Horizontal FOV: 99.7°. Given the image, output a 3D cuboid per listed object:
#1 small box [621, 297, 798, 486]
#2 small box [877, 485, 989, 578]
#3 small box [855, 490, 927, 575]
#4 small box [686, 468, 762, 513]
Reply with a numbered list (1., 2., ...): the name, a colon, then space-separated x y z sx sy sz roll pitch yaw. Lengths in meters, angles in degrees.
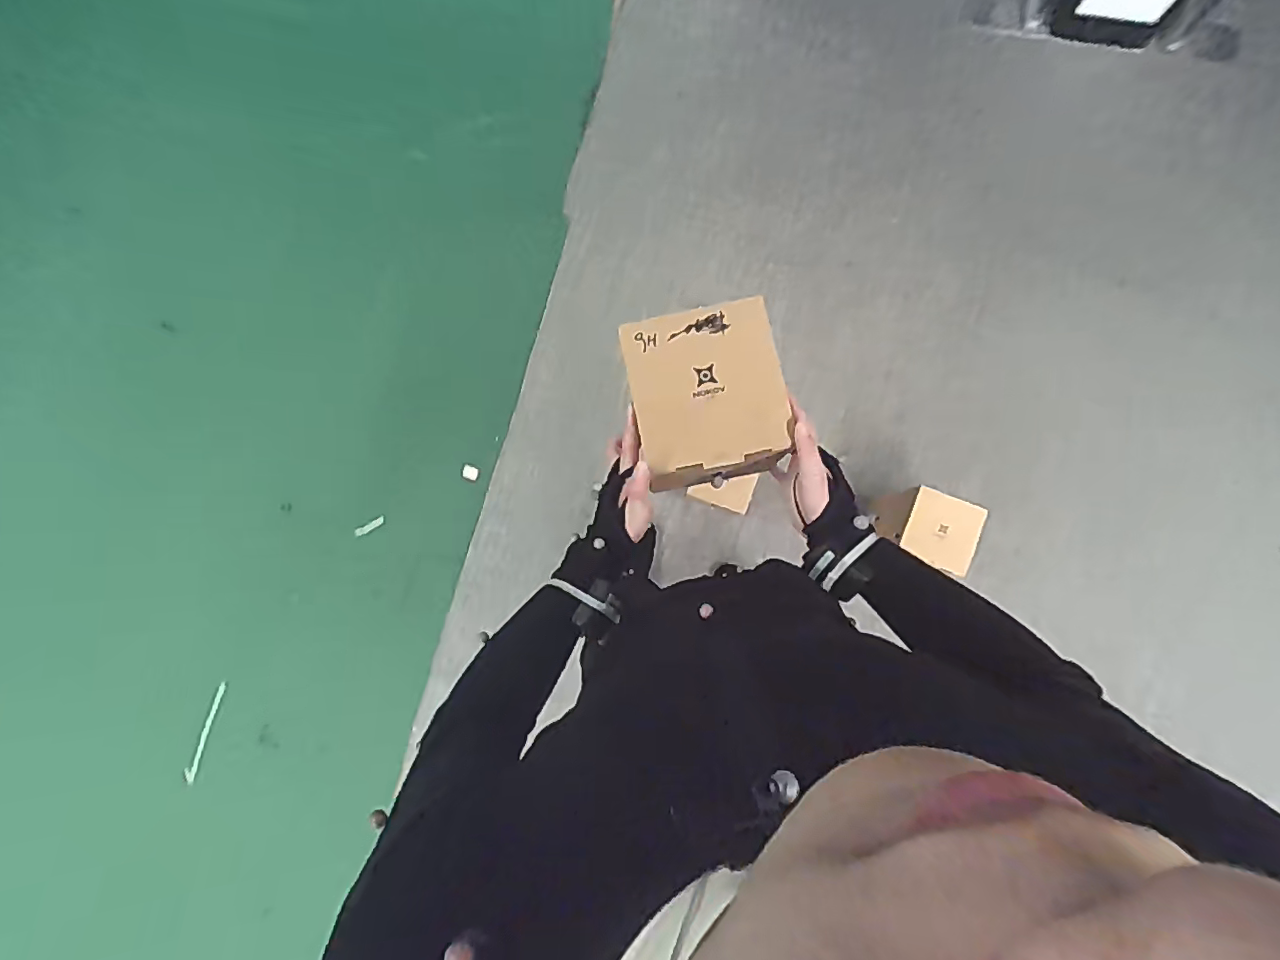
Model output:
1. small box: 0.077 -0.093 0.659 0.168 0.176 0.179 -11 83 1
2. small box: 0.722 0.128 1.354 0.168 0.176 0.179 22 87 6
3. small box: 0.728 0.146 1.513 0.168 0.176 0.179 27 88 9
4. small box: 0.244 -0.005 1.575 0.179 0.176 0.168 21 87 7
